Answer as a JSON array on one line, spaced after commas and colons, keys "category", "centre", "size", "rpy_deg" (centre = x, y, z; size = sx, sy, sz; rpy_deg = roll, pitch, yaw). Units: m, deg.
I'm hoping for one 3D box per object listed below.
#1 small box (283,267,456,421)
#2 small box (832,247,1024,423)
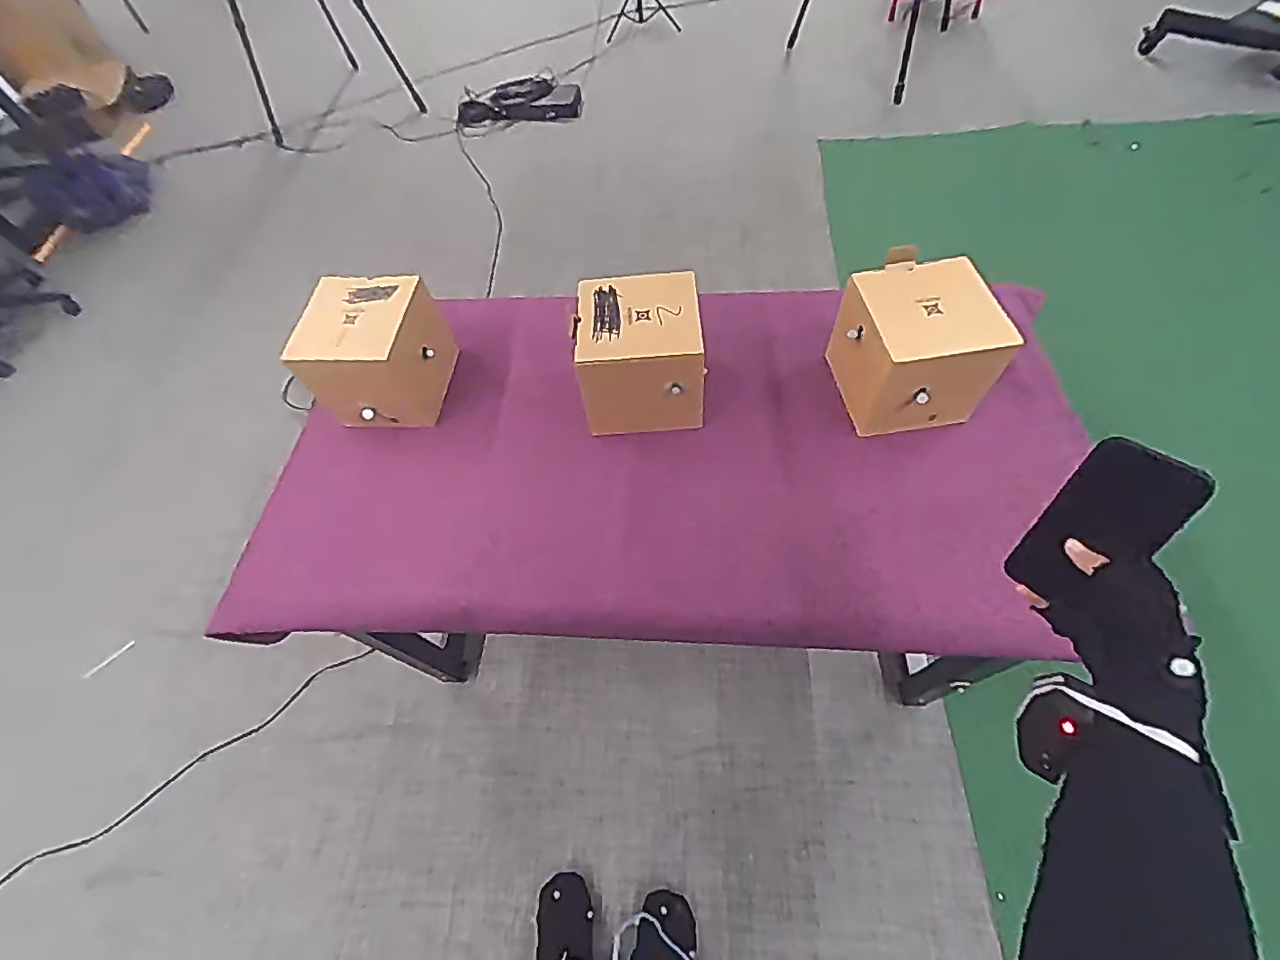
[{"category": "small box", "centre": [-0.414, -0.216, 0.868], "size": [0.168, 0.176, 0.179], "rpy_deg": [2, 62, 7]}, {"category": "small box", "centre": [0.395, -0.198, 0.779], "size": [0.168, 0.176, 0.179], "rpy_deg": [-9, 59, 1]}]
